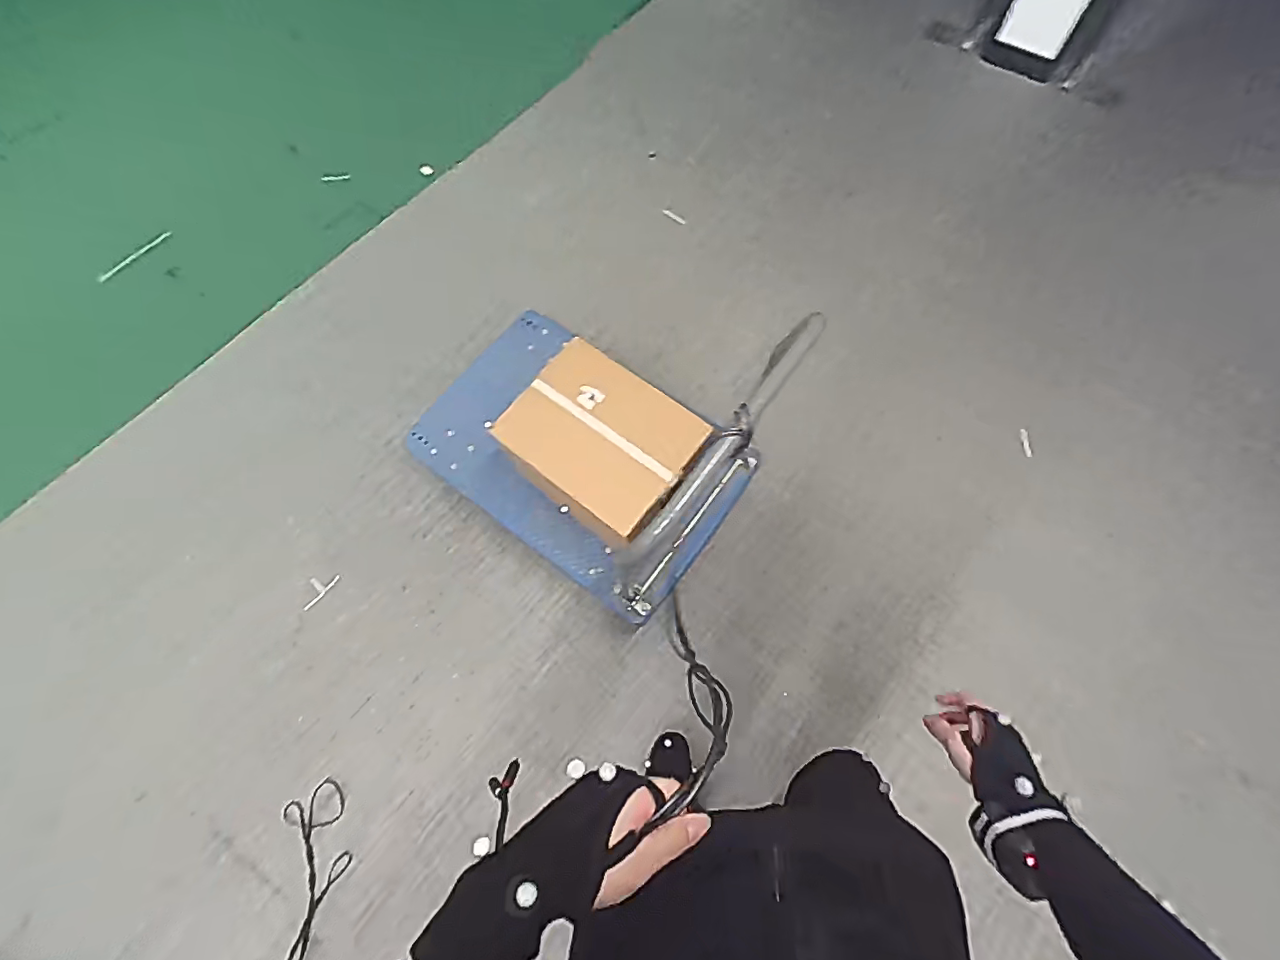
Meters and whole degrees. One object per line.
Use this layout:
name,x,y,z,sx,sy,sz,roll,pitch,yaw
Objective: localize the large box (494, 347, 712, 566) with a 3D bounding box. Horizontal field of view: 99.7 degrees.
large box,-0.073,-0.046,1.347,0.408,0.320,0.320,36,75,16
